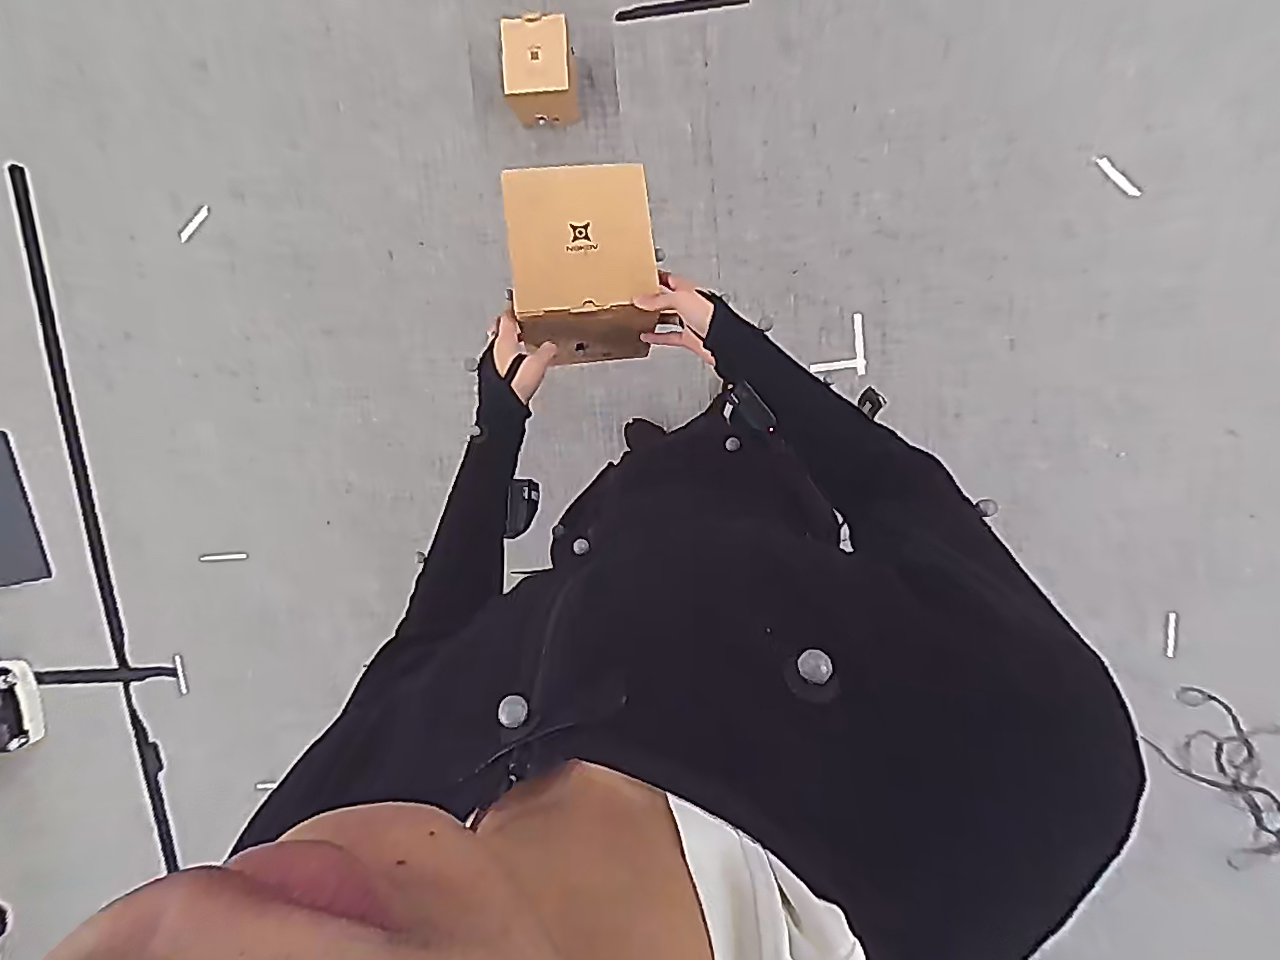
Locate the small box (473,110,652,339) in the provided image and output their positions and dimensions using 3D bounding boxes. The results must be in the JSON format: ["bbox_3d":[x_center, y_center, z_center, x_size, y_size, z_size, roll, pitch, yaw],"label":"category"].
[{"bbox_3d":[-0.087,-0.280,0.620,0.168,0.176,0.179,-7,84,-6],"label":"small box"}]

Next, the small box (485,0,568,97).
[{"bbox_3d":[-0.275,-1.091,1.338,0.168,0.176,0.179,-1,98,4],"label":"small box"}]
